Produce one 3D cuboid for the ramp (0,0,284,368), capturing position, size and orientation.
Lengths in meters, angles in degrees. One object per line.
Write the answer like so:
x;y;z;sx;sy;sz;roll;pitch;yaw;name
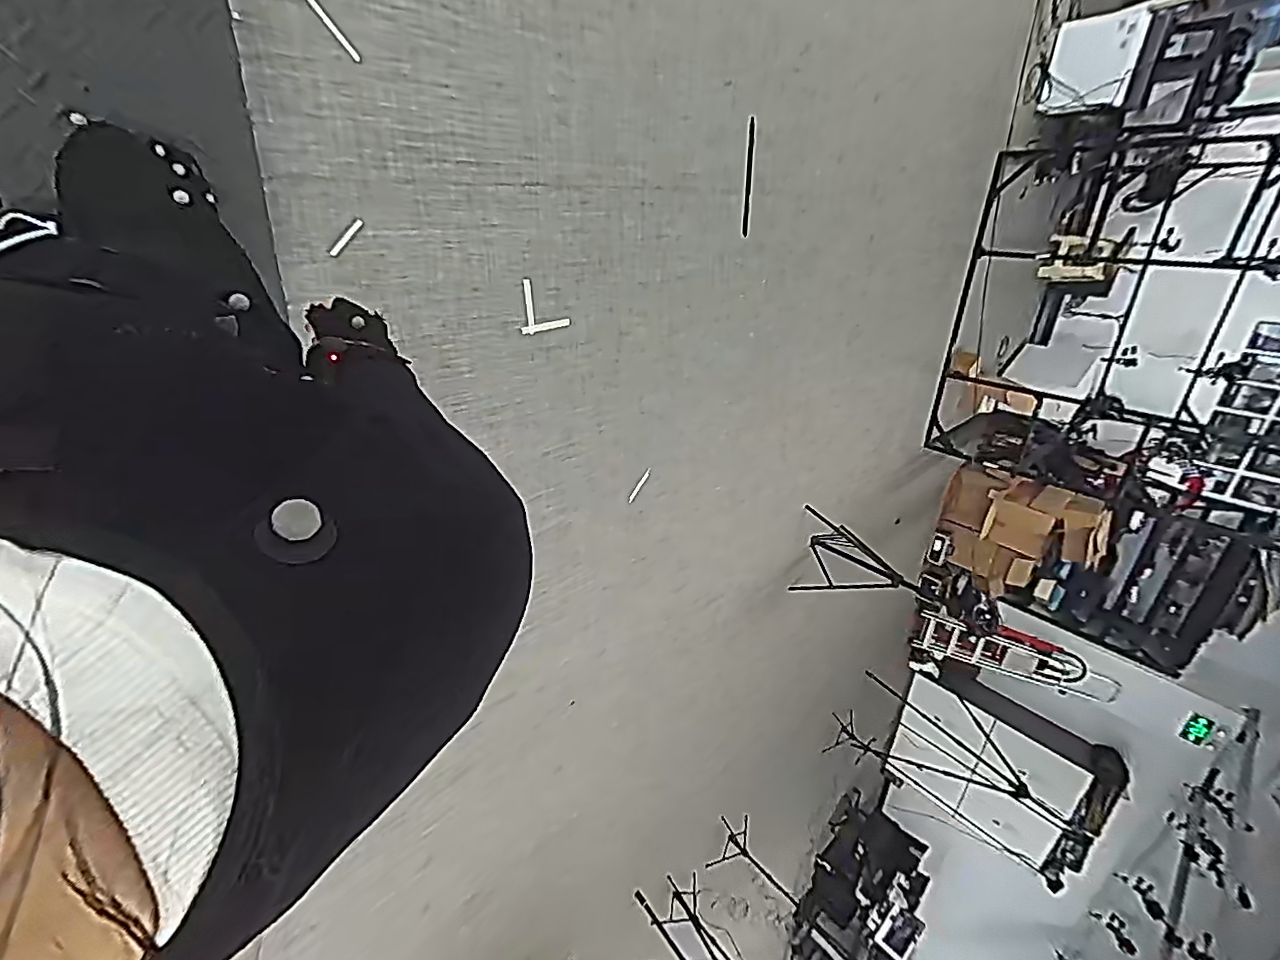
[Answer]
-0.915;-0.668;0.830;0.509;0.206;0.991;-21;125;-38;ramp
